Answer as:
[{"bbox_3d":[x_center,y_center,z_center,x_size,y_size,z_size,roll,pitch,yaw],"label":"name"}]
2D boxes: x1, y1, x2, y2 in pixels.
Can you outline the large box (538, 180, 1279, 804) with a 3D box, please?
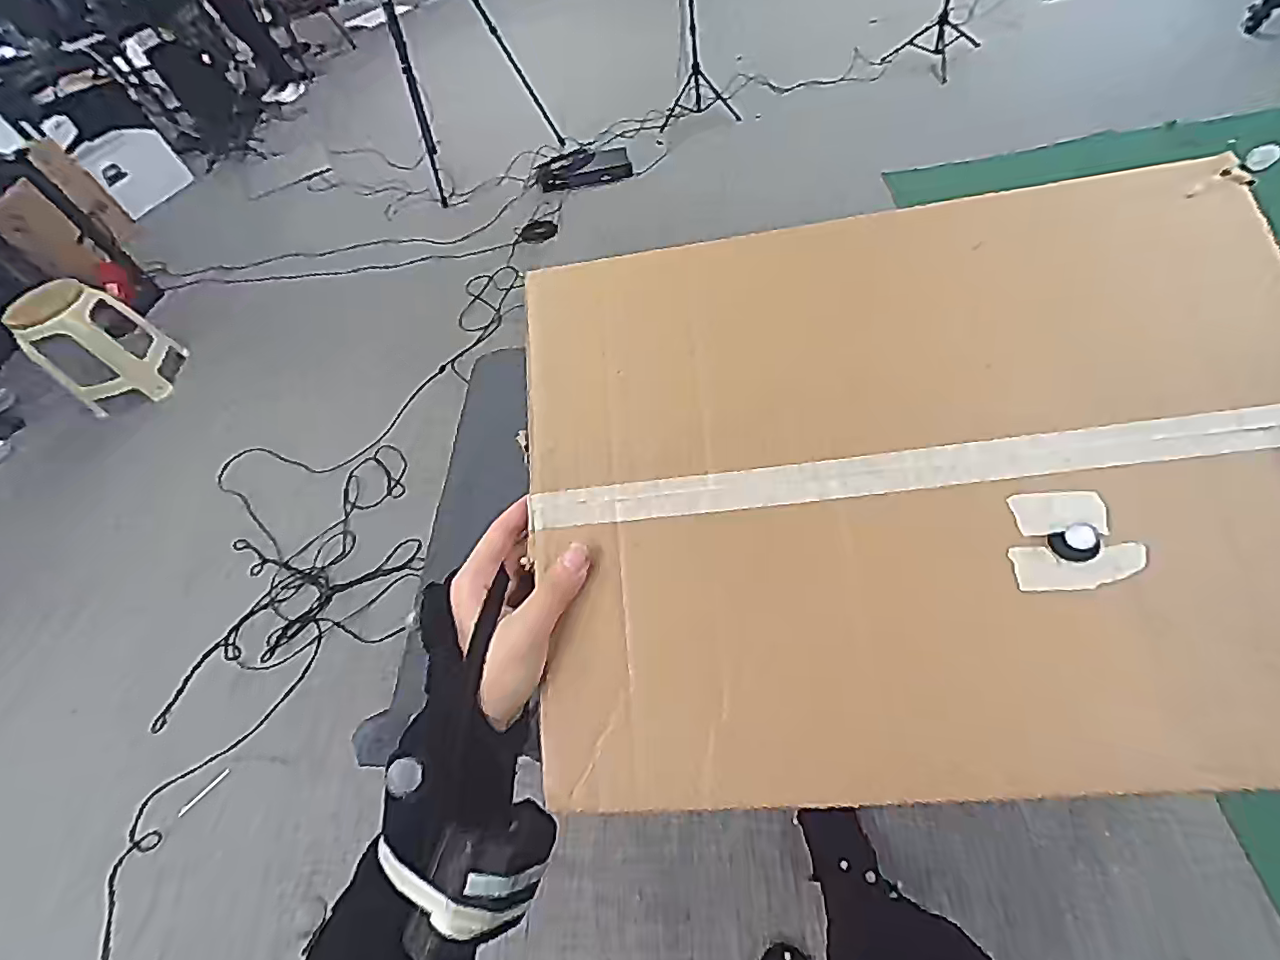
[{"bbox_3d":[0.160,0.031,0.439,0.408,0.320,0.320,-6,77,6],"label":"large box"}]
